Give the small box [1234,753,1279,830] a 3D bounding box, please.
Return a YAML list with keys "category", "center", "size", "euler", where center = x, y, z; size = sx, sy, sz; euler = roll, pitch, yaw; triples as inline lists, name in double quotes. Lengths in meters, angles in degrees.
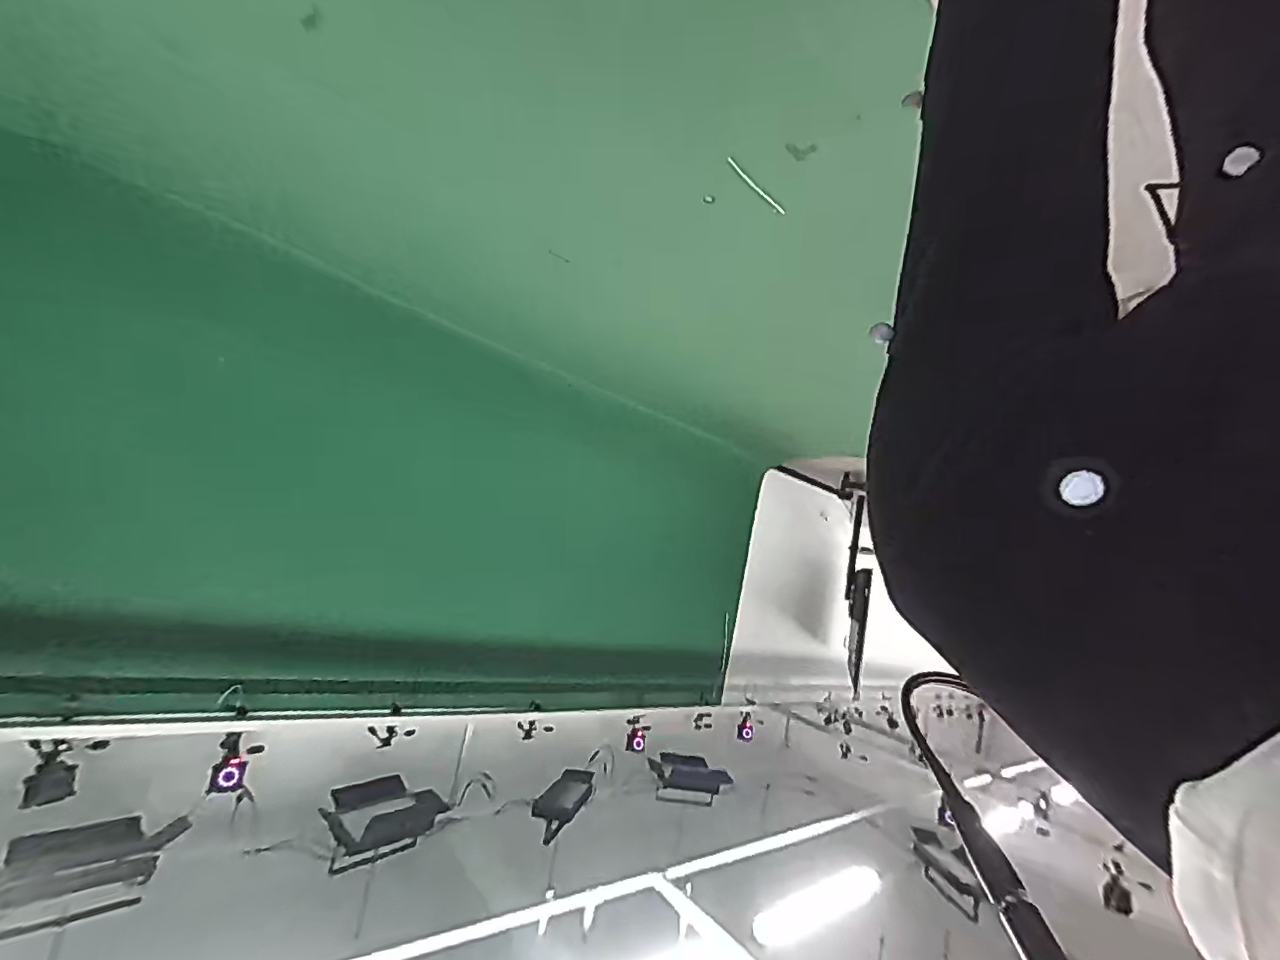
- category: "small box"
  center: [1.822, 0.892, 1.532]
  size: [0.168, 0.176, 0.179]
  euler: [17, 169, -39]
